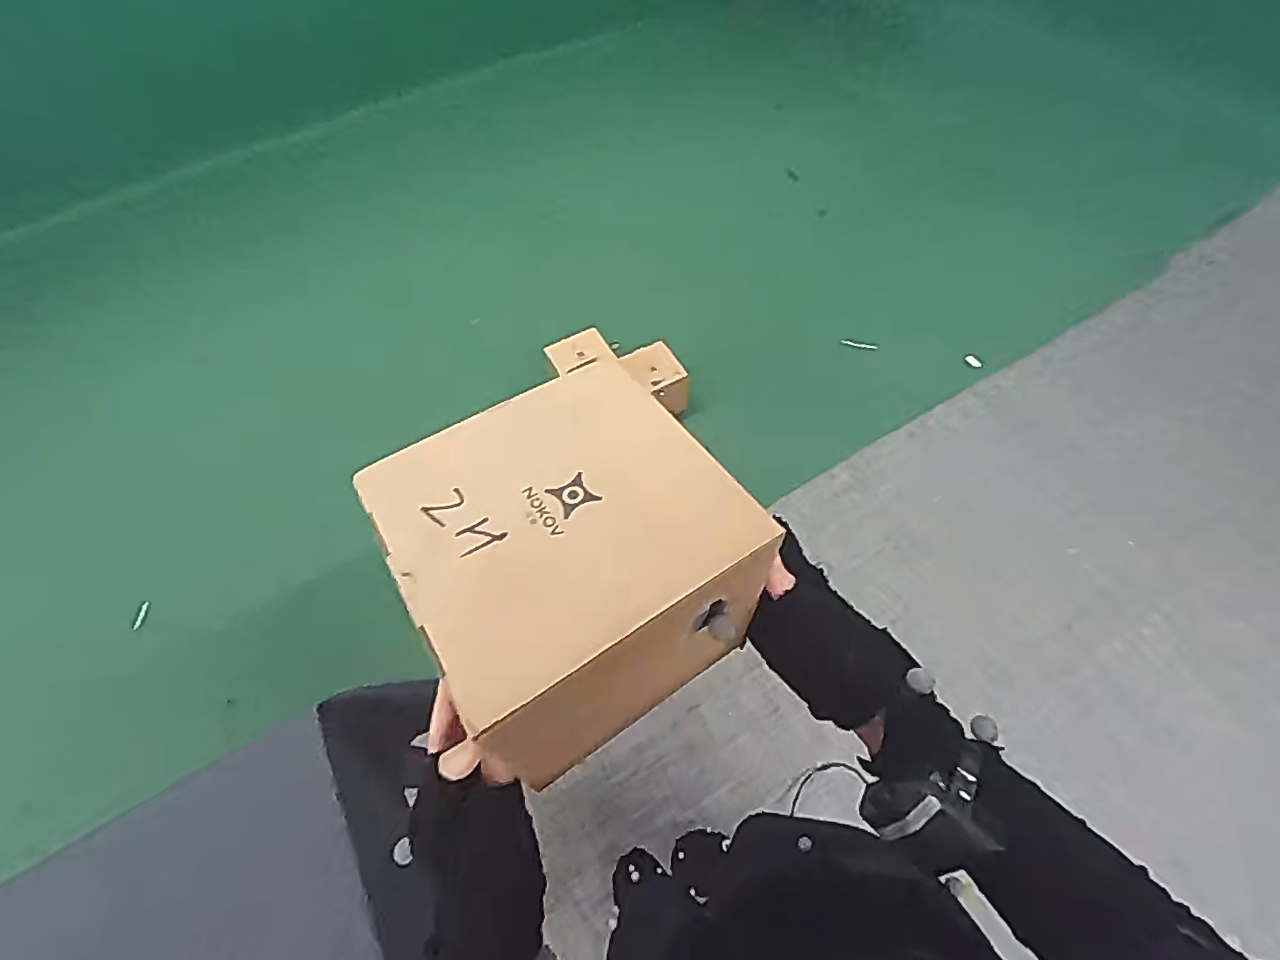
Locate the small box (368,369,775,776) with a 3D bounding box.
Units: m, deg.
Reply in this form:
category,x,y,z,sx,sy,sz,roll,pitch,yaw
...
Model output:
category,x,y,z,sx,sy,sz,roll,pitch,yaw
small box,-0.041,0.064,0.362,0.179,0.176,0.168,-29,58,-17
